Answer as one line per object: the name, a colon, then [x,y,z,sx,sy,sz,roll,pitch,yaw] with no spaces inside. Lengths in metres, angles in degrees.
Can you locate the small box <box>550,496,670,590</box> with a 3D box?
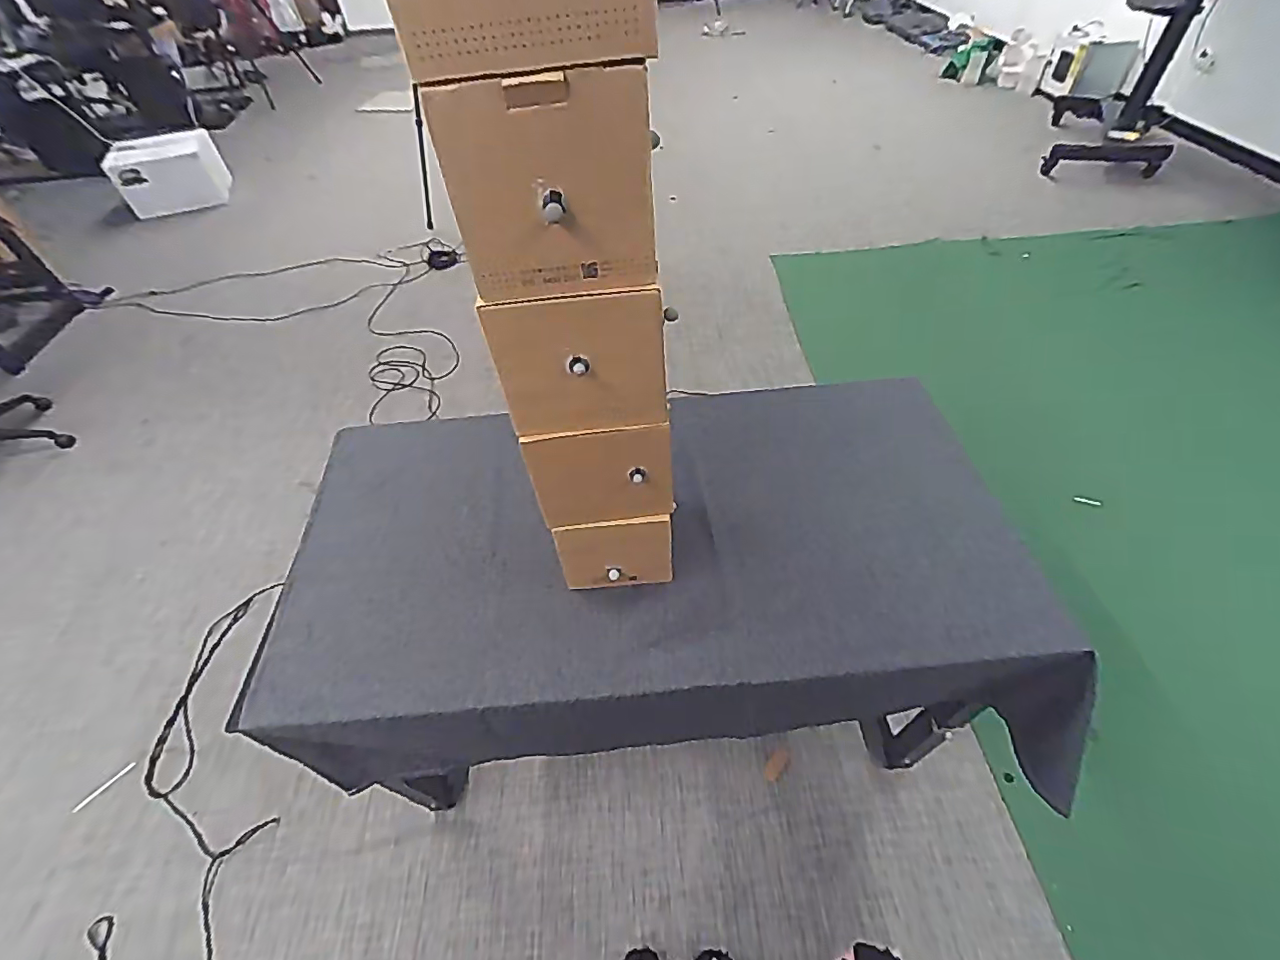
small box: [-0.041,0.053,0.852,0.168,0.176,0.179,-5,49,1]

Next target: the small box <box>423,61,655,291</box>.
small box: [-0.077,-0.290,0.505,0.168,0.176,0.179,-6,48,0]

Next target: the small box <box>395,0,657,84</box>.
small box: [-0.085,-0.400,0.381,0.179,0.176,0.168,-5,47,0]

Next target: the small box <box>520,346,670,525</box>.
small box: [-0.055,-0.057,0.732,0.179,0.176,0.168,-7,47,-1]
